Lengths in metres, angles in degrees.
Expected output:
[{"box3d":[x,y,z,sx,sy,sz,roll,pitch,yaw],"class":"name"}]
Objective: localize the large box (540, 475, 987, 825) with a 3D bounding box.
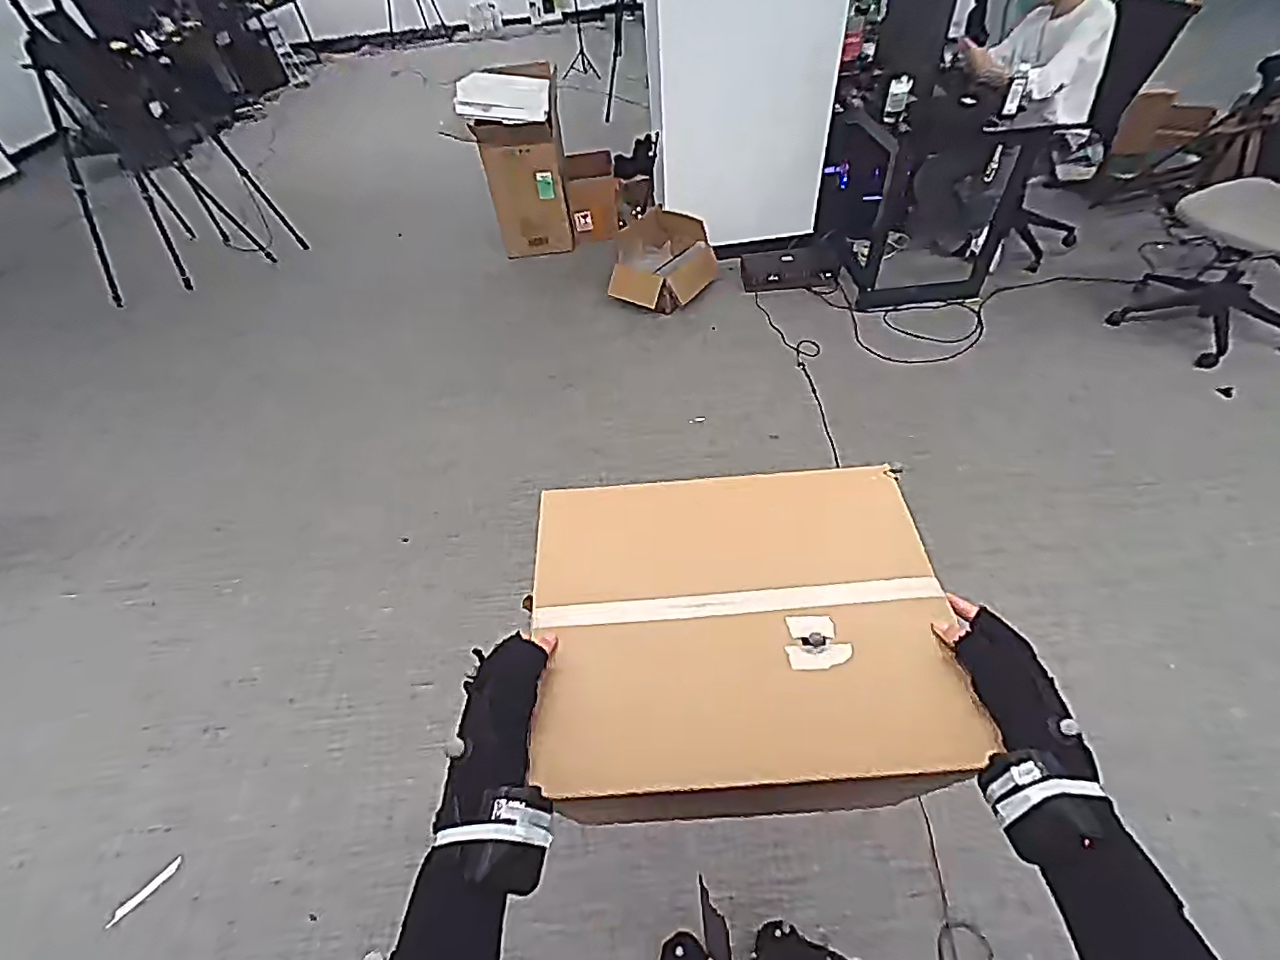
[{"box3d":[0.104,0.222,0.677,0.408,0.320,0.320,-5,54,0],"class":"large box"}]
